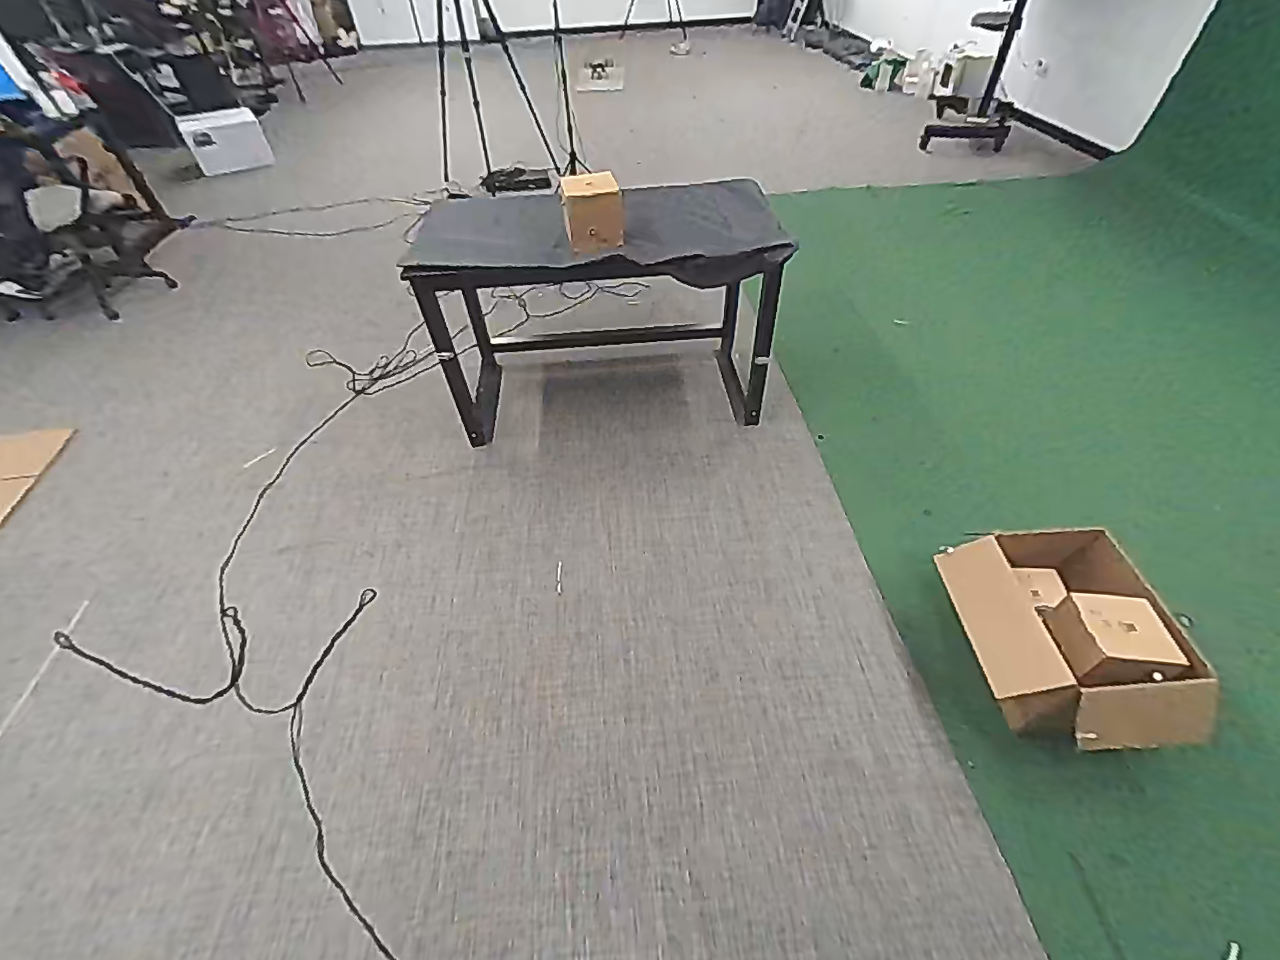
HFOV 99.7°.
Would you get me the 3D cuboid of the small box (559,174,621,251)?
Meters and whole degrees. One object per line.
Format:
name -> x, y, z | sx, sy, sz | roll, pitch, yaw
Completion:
small box -> -0.158, -0.849, 1.715 | 0.168, 0.176, 0.179 | -10, 48, -7
